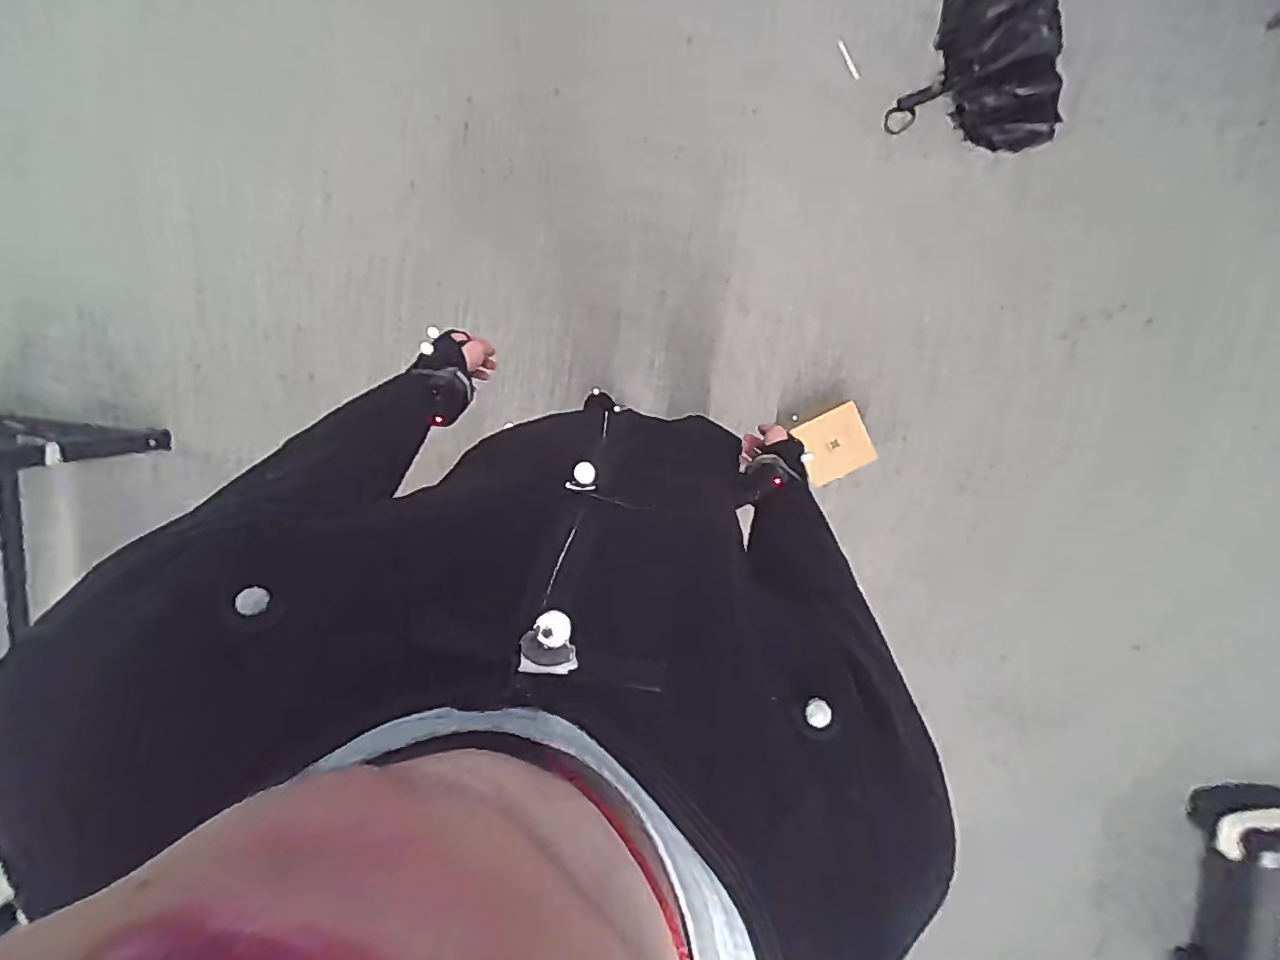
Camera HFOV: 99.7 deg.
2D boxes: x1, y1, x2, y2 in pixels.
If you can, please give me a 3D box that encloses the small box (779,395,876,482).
[{"bbox_3d":[0.488,-0.115,1.440,0.179,0.176,0.168,-27,100,4],"label":"small box"}]
